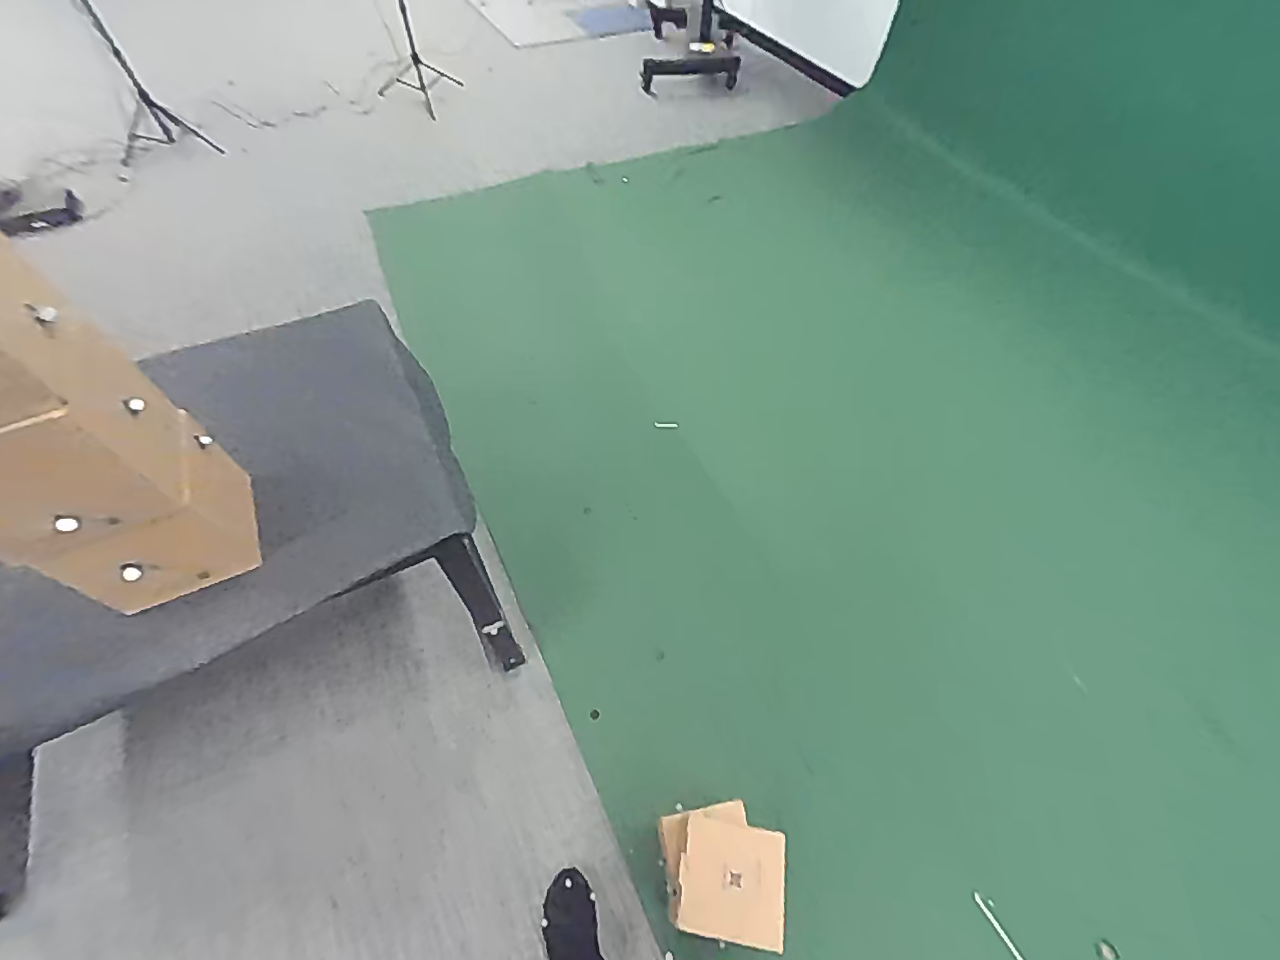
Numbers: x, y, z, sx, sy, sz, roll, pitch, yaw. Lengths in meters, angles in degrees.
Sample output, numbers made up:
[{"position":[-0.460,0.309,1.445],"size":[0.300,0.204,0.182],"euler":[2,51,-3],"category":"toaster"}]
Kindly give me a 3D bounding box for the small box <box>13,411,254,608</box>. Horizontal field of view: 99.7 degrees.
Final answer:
[{"position":[-0.643,0.047,0.711],"size":[0.168,0.176,0.179],"euler":[-23,58,-17],"category":"small box"}]

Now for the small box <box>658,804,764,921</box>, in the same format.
[{"position":[0.136,0.789,1.122],"size":[0.179,0.176,0.168],"euler":[-8,57,-8],"category":"small box"}]

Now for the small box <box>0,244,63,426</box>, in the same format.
[{"position":[-0.636,-0.141,0.442],"size":[0.168,0.176,0.179],"euler":[-26,59,-18],"category":"small box"}]
